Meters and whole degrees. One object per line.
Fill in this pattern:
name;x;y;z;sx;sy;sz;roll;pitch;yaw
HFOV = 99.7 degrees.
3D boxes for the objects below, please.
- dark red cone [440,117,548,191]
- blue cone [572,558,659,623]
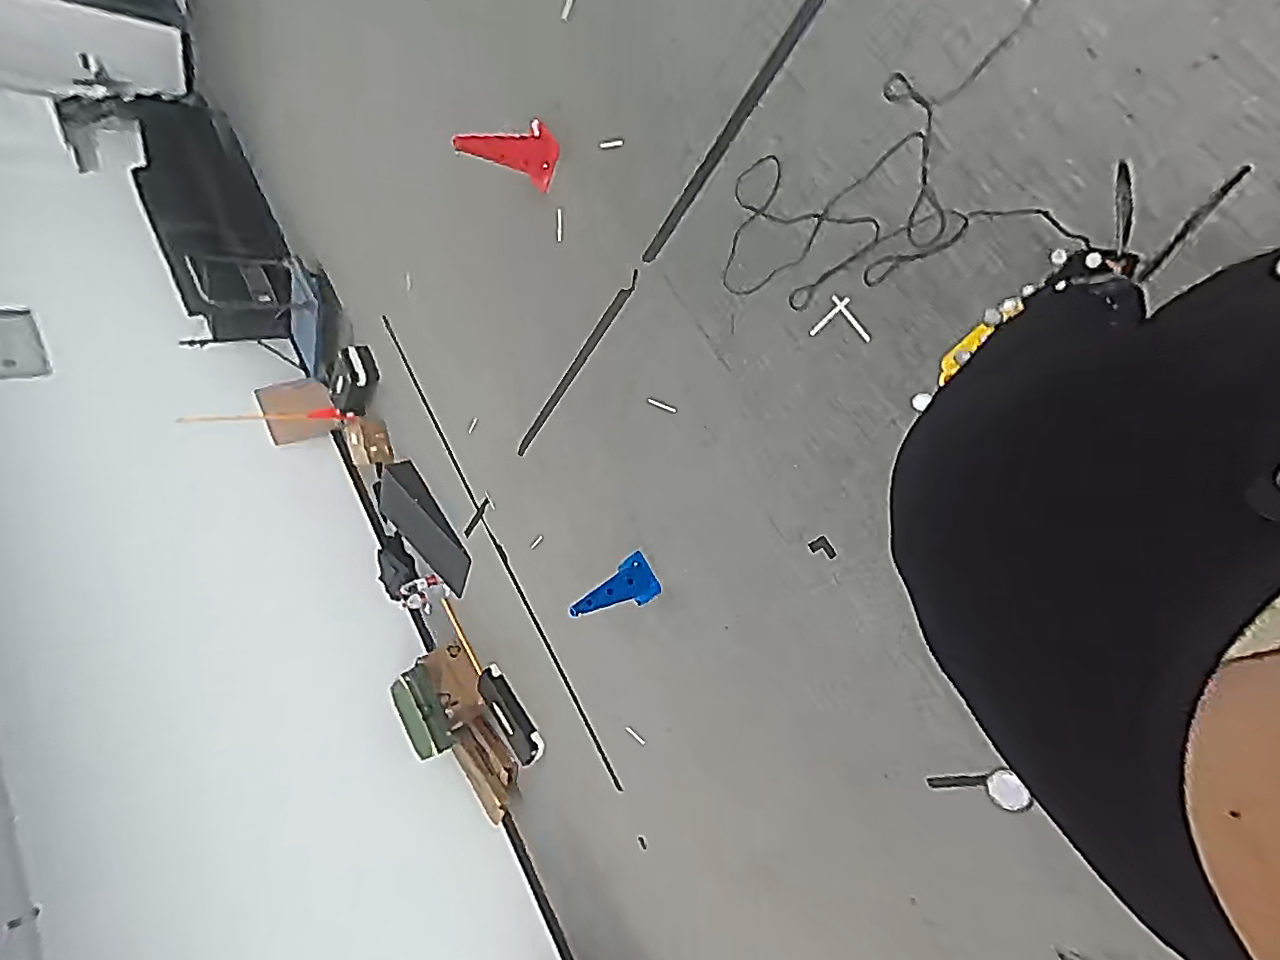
dark red cone;-0.545;-1.223;1.988;0.201;0.394;0.202;54;137;18
blue cone;-0.124;0.474;2.188;0.192;0.380;0.193;60;138;12
